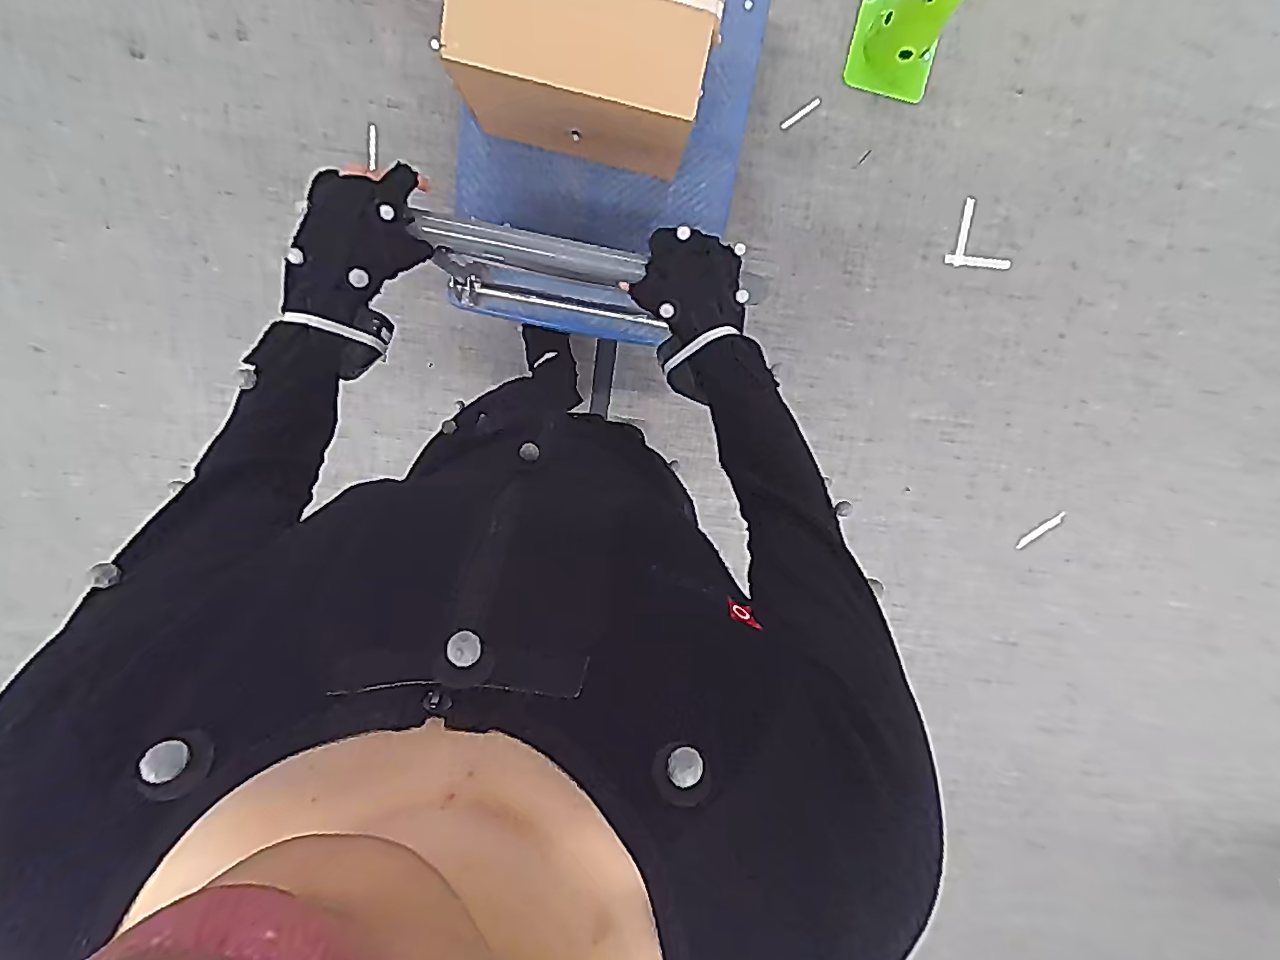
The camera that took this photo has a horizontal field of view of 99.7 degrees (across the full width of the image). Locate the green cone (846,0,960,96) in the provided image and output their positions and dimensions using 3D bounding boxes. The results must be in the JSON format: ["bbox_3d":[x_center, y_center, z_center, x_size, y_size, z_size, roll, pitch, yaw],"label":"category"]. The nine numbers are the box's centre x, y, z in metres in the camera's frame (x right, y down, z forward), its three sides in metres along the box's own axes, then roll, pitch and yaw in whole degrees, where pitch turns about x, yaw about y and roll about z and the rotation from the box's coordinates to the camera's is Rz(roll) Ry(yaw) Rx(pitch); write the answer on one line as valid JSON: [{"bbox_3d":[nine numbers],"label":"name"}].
[{"bbox_3d":[0.604,-0.985,1.094,0.202,0.368,0.200,10,103,-6],"label":"green cone"}]

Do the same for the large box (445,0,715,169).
[{"bbox_3d":[-0.083,-0.800,0.963,0.408,0.320,0.320,11,103,-4],"label":"large box"}]
